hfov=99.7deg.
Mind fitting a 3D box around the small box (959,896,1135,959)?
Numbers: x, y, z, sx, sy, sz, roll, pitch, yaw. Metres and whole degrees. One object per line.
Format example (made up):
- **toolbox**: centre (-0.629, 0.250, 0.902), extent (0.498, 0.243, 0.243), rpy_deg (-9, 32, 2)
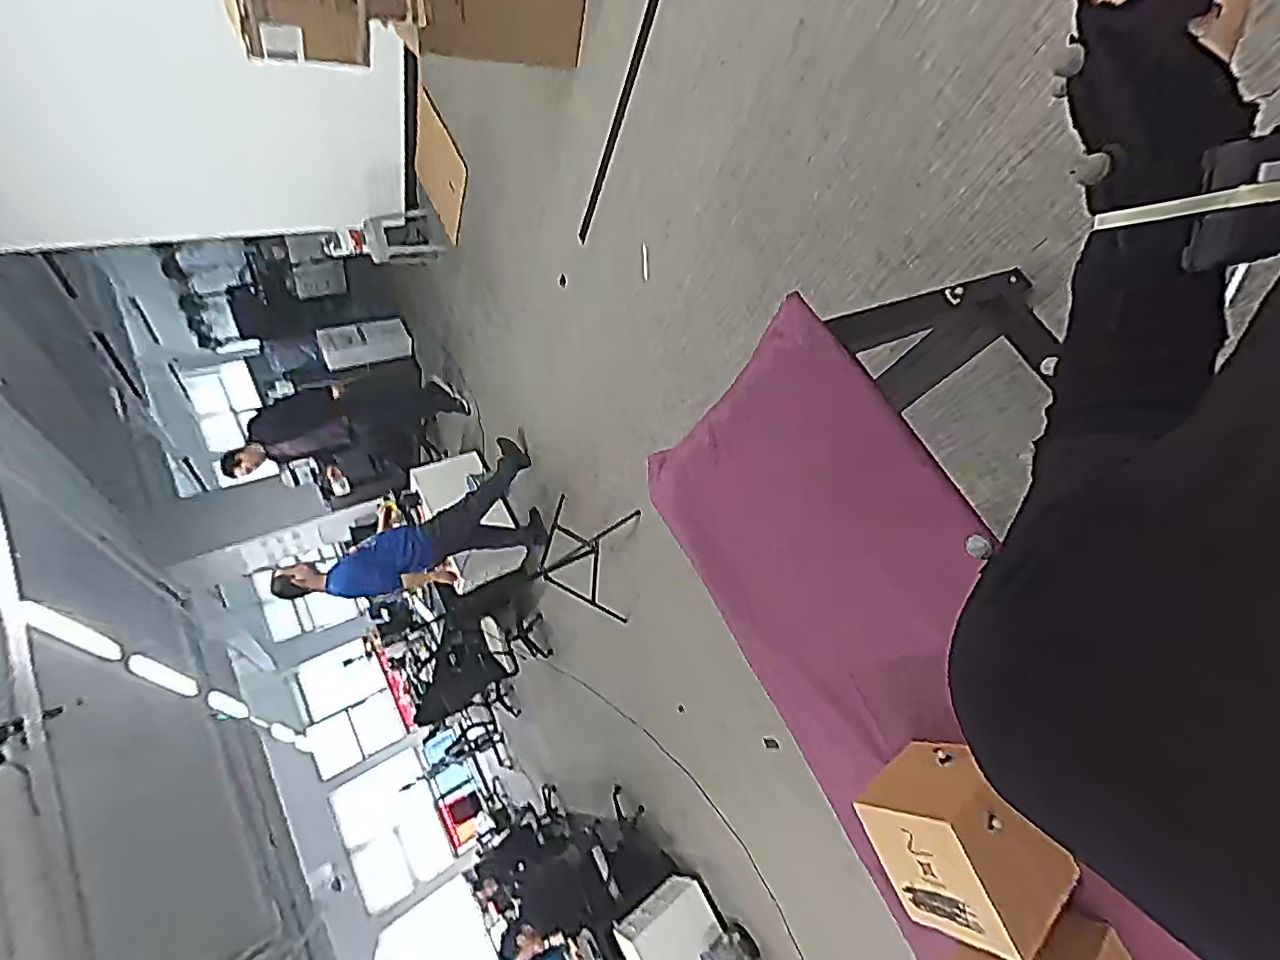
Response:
- **small box**: centre (0.557, 0.701, 0.714), extent (0.168, 0.176, 0.179), rpy_deg (63, 149, 11)
